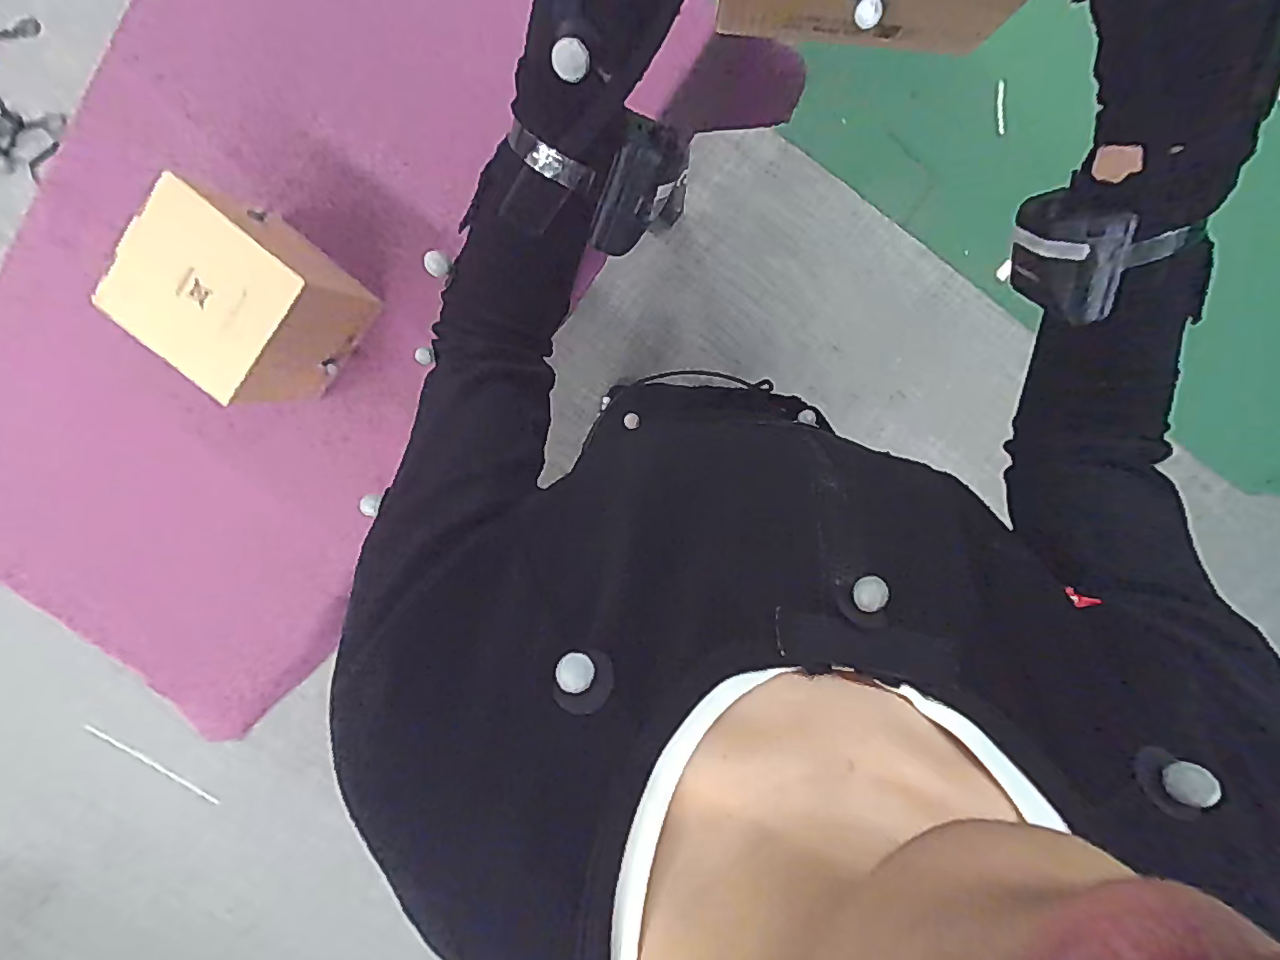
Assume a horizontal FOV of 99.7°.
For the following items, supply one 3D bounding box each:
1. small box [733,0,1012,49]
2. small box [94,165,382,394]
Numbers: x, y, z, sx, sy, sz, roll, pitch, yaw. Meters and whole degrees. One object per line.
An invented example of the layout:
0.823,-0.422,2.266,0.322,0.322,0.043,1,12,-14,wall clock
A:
0.137,-0.349,0.247,0.168,0.176,0.179,7,104,1,small box
-0.454,-0.217,0.641,0.179,0.176,0.168,40,100,-5,small box
